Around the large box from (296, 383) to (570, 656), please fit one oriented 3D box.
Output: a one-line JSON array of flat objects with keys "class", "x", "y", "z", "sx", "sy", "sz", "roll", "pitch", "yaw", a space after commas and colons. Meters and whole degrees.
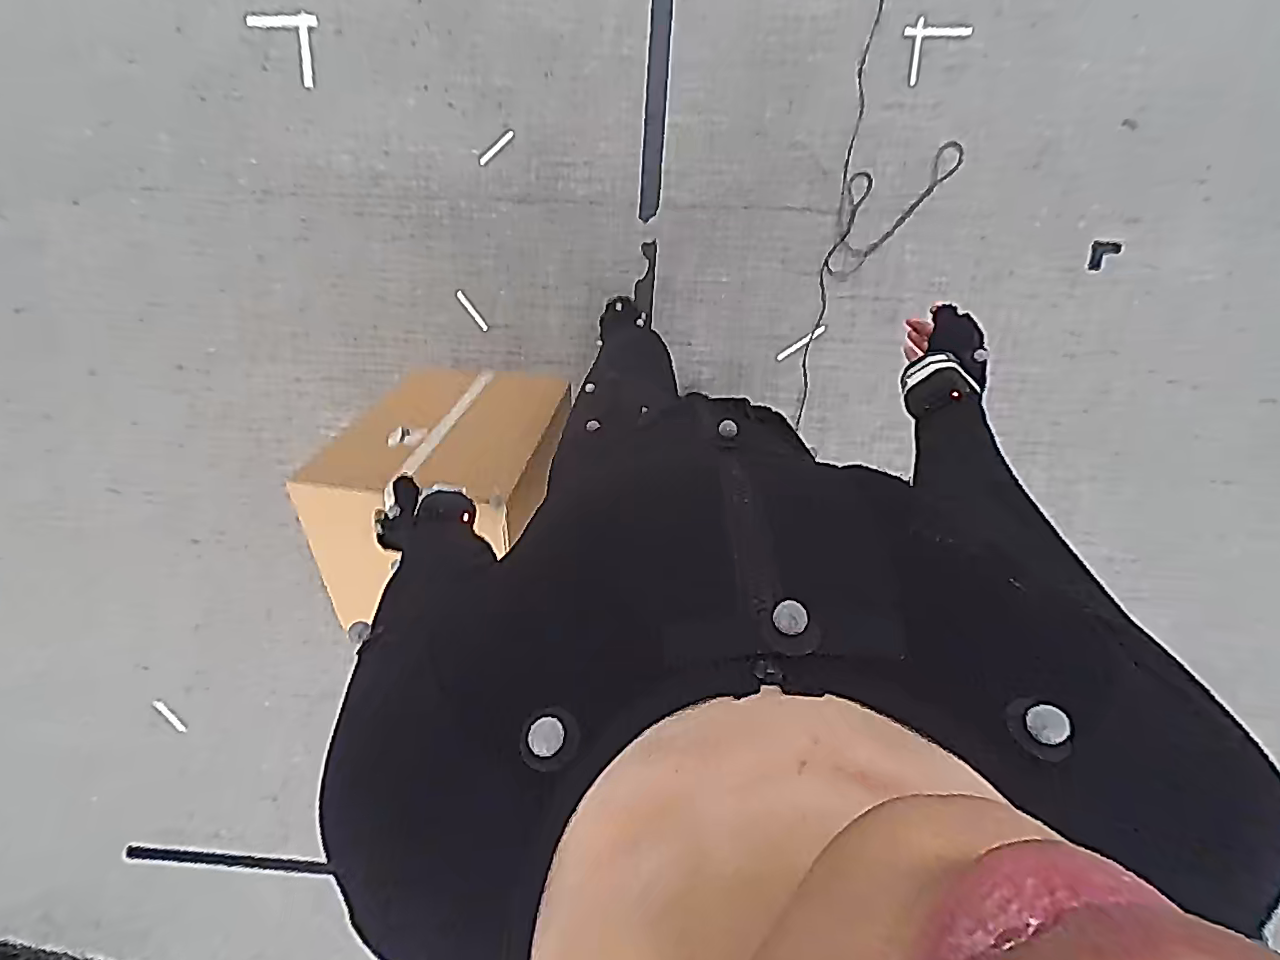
[{"class": "large box", "x": -0.318, "y": 0.050, "z": 0.988, "sx": 0.320, "sy": 0.408, "sz": 0.320, "roll": 4, "pitch": 123, "yaw": 5}]
